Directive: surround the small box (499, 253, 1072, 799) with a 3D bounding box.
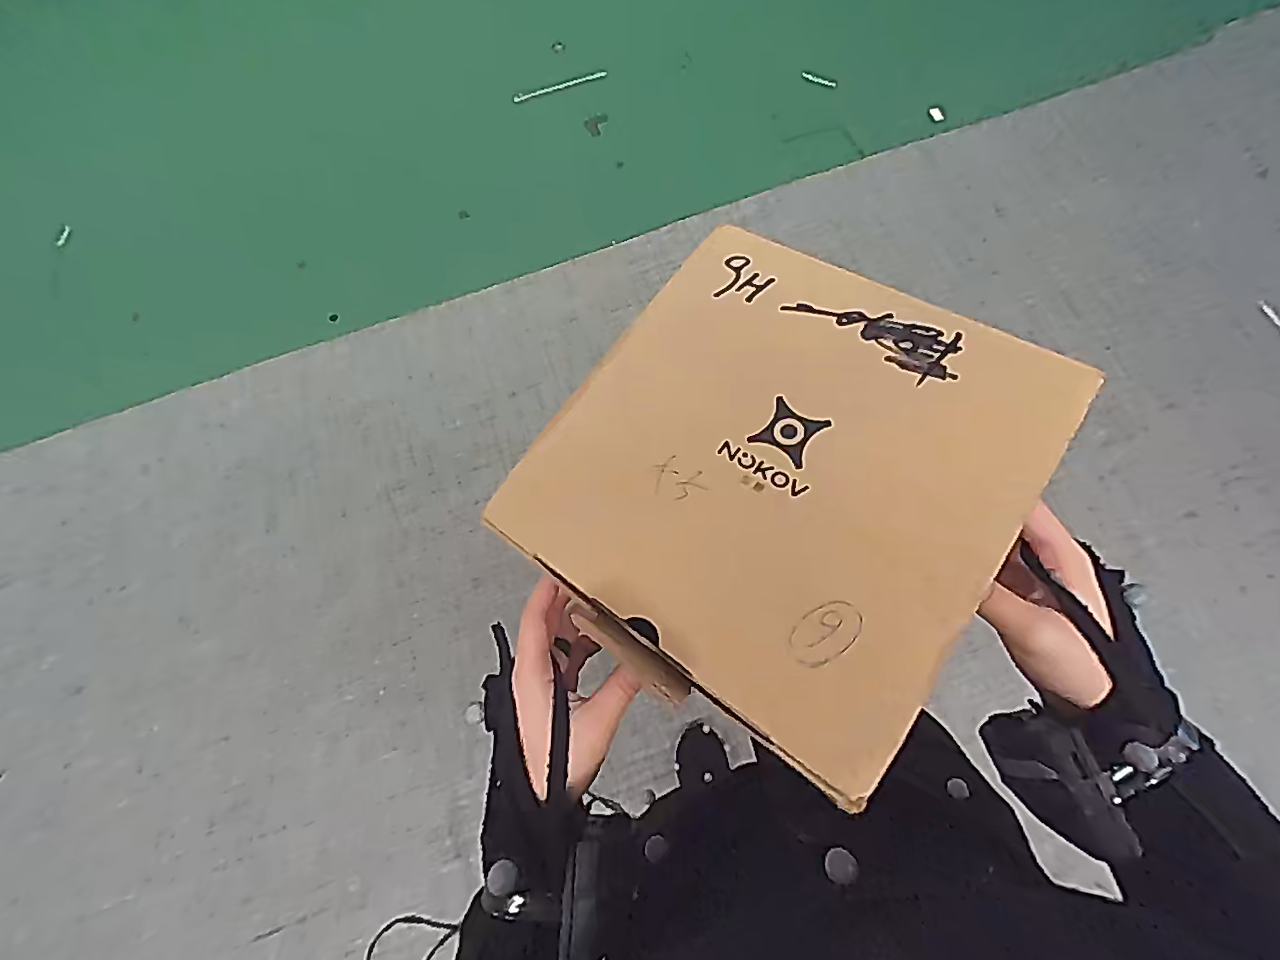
[{"bbox_3d":[0.067,0.026,0.289,0.168,0.176,0.179,32,77,21],"label":"small box"}]
